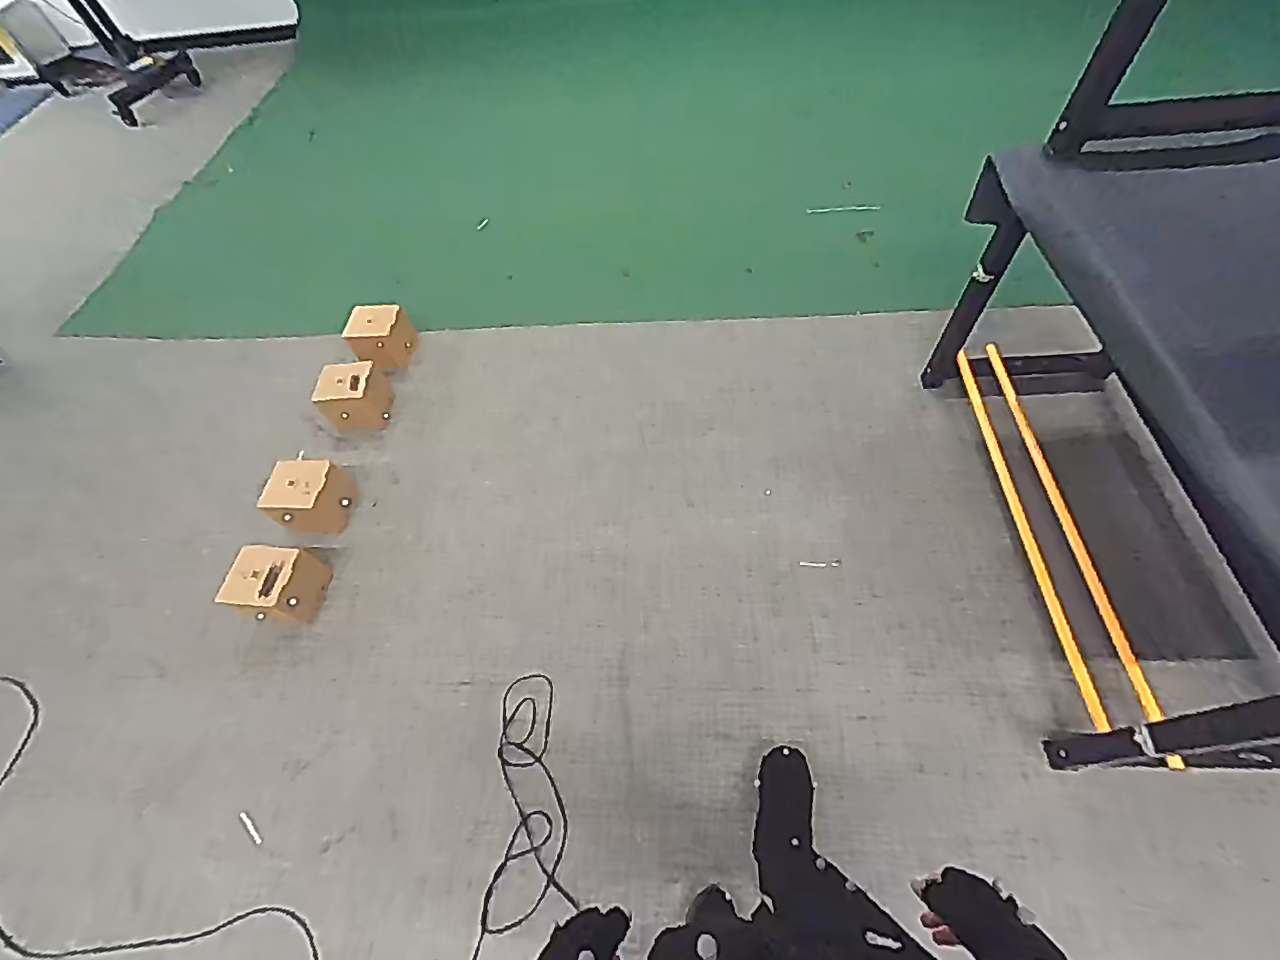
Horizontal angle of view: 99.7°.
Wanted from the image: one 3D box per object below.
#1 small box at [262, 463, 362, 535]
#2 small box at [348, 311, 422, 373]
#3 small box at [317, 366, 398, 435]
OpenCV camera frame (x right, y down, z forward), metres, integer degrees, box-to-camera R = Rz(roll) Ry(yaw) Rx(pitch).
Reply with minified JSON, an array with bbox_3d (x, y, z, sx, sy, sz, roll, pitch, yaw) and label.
[{"bbox_3d":[-1.003,0.063,1.669,0.179,0.176,0.168,1,58,5],"label":"small box"},{"bbox_3d":[-0.958,-0.519,2.047,0.179,0.176,0.168,-1,58,5],"label":"small box"},{"bbox_3d":[-0.976,-0.274,1.888,0.179,0.176,0.168,-4,57,3],"label":"small box"}]
